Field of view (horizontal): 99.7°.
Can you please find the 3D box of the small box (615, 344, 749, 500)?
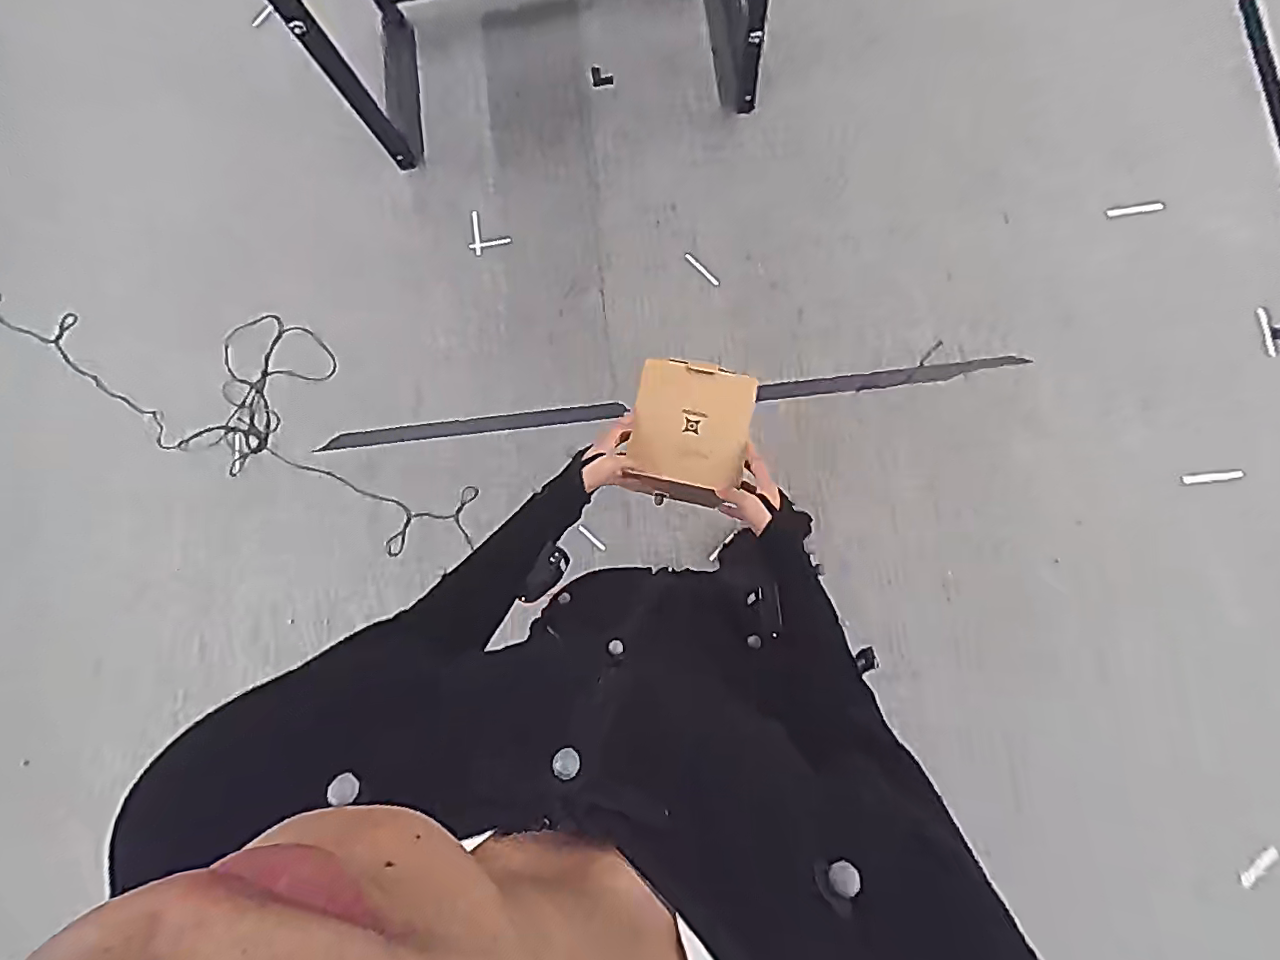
[{"bbox_3d":[0.055,-0.079,0.819,0.168,0.176,0.179,10,79,-2],"label":"small box"}]
